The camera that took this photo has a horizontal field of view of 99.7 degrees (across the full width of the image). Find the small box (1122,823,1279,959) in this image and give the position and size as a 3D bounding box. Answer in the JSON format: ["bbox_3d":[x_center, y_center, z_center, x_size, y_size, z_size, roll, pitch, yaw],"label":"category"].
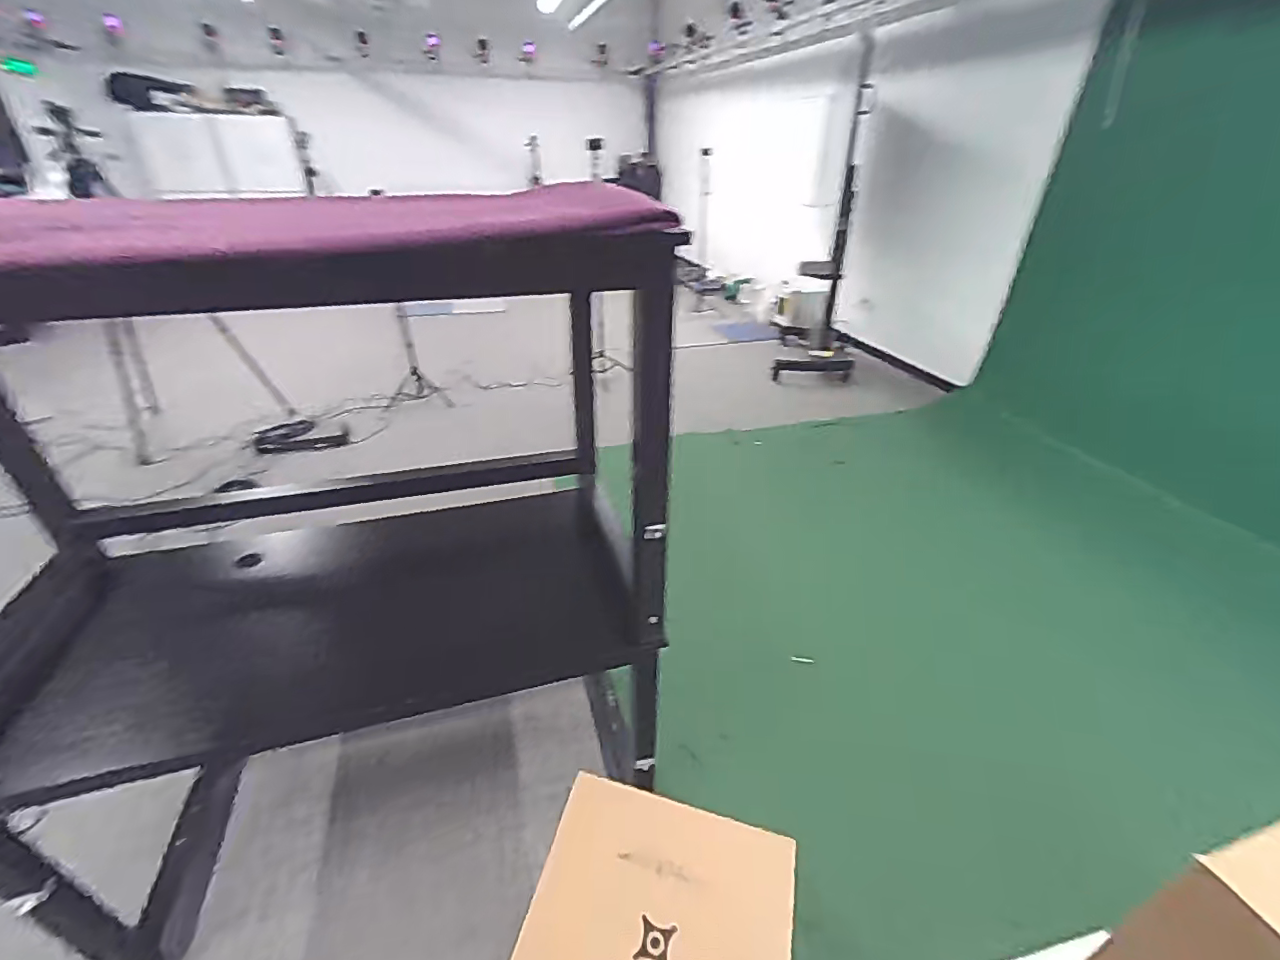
[{"bbox_3d":[0.532,0.388,0.405,0.168,0.176,0.179,-9,34,-13],"label":"small box"}]
